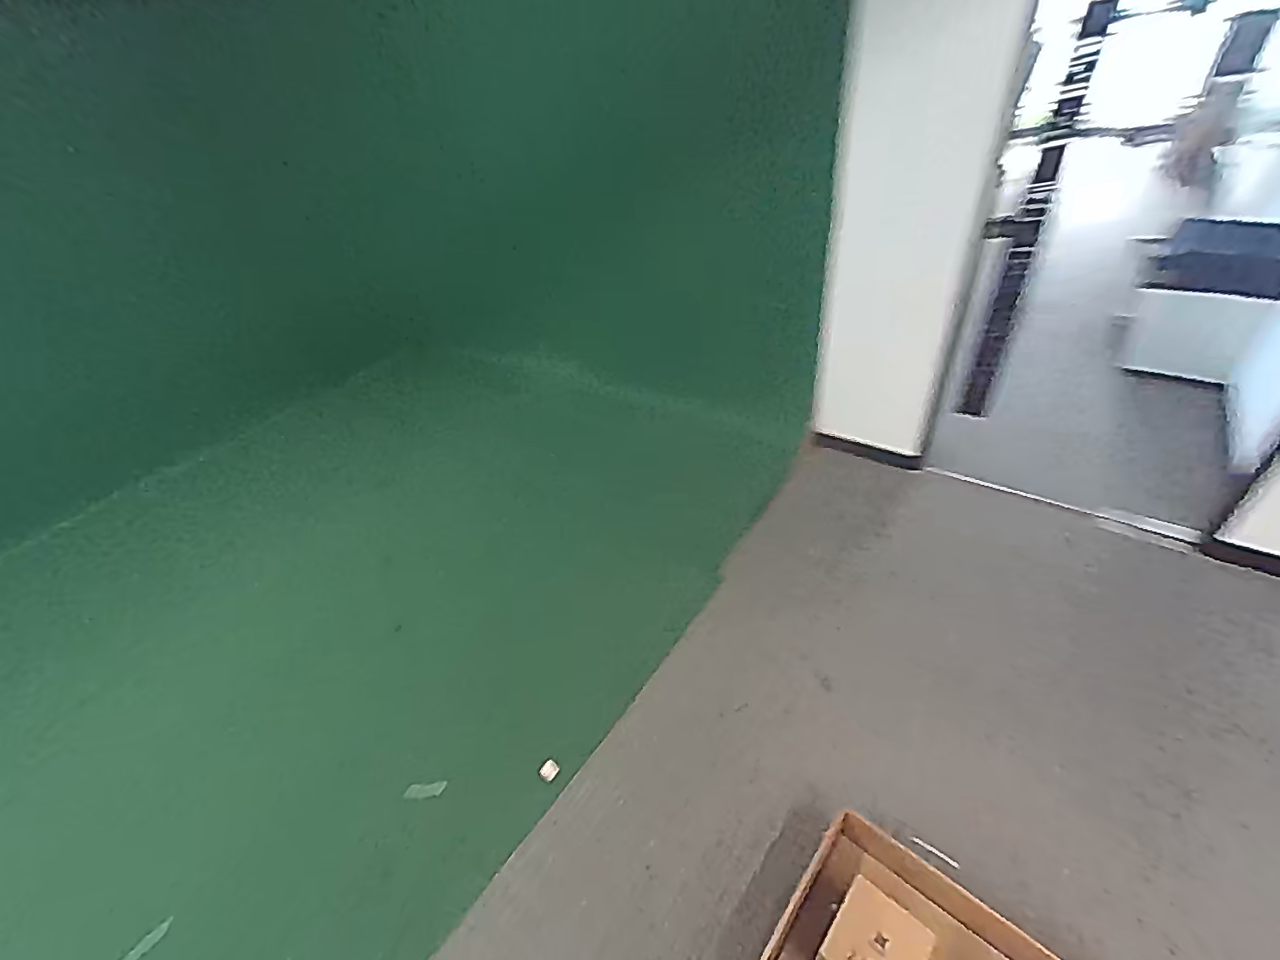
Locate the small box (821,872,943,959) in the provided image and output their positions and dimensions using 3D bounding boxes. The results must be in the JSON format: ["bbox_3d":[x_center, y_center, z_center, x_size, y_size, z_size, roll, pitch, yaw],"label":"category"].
[{"bbox_3d":[0.491,0.973,1.117,0.168,0.176,0.179,27,51,35],"label":"small box"}]
